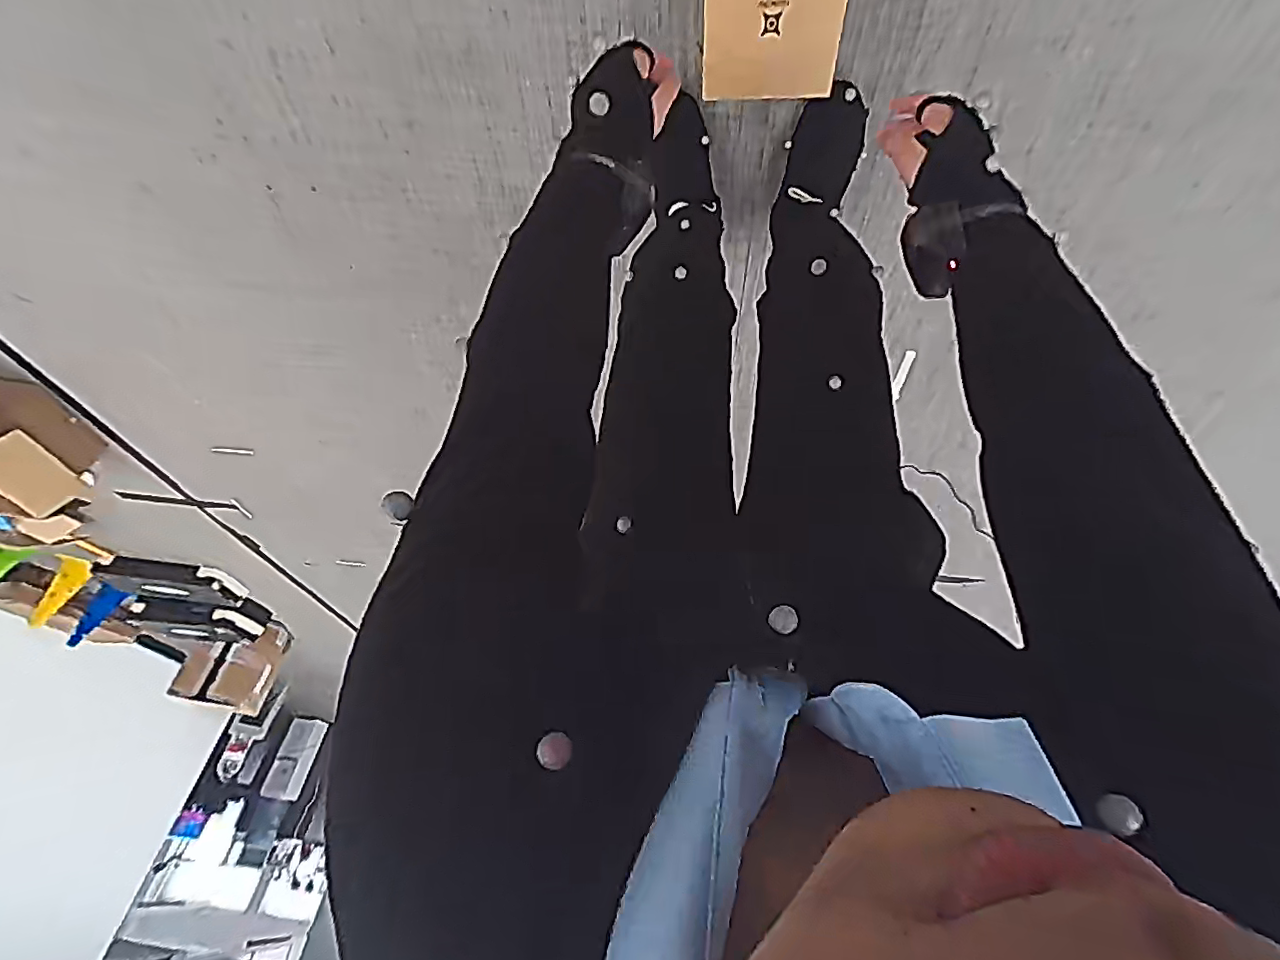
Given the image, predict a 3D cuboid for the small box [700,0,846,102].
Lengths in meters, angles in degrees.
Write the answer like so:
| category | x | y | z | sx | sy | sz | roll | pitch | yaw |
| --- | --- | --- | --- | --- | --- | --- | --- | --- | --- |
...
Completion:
| category | x | y | z | sx | sy | sz | roll | pitch | yaw |
| --- | --- | --- | --- | --- | --- | --- | --- | --- | --- |
| small box | 0.165 | -0.608 | 0.679 | 0.168 | 0.176 | 0.179 | 3 | 143 | 6 |
